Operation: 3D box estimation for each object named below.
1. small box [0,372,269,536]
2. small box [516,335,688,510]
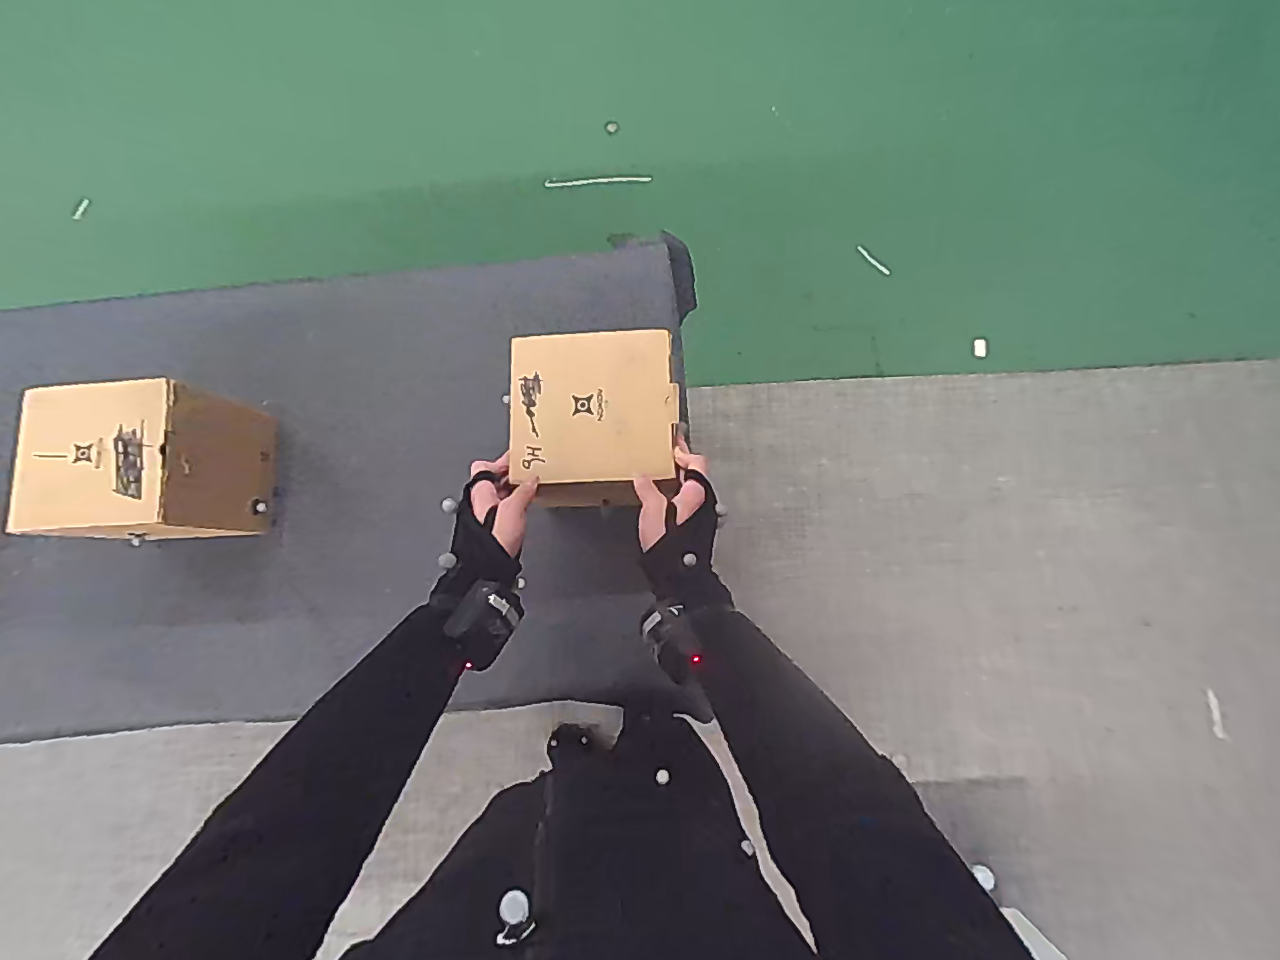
[{"bbox_3d":[-0.591,-0.021,0.654,0.179,0.176,0.168,-2,79,2],"label":"small box"},{"bbox_3d":[-0.039,-0.059,0.641,0.179,0.176,0.168,-1,78,1],"label":"small box"}]
